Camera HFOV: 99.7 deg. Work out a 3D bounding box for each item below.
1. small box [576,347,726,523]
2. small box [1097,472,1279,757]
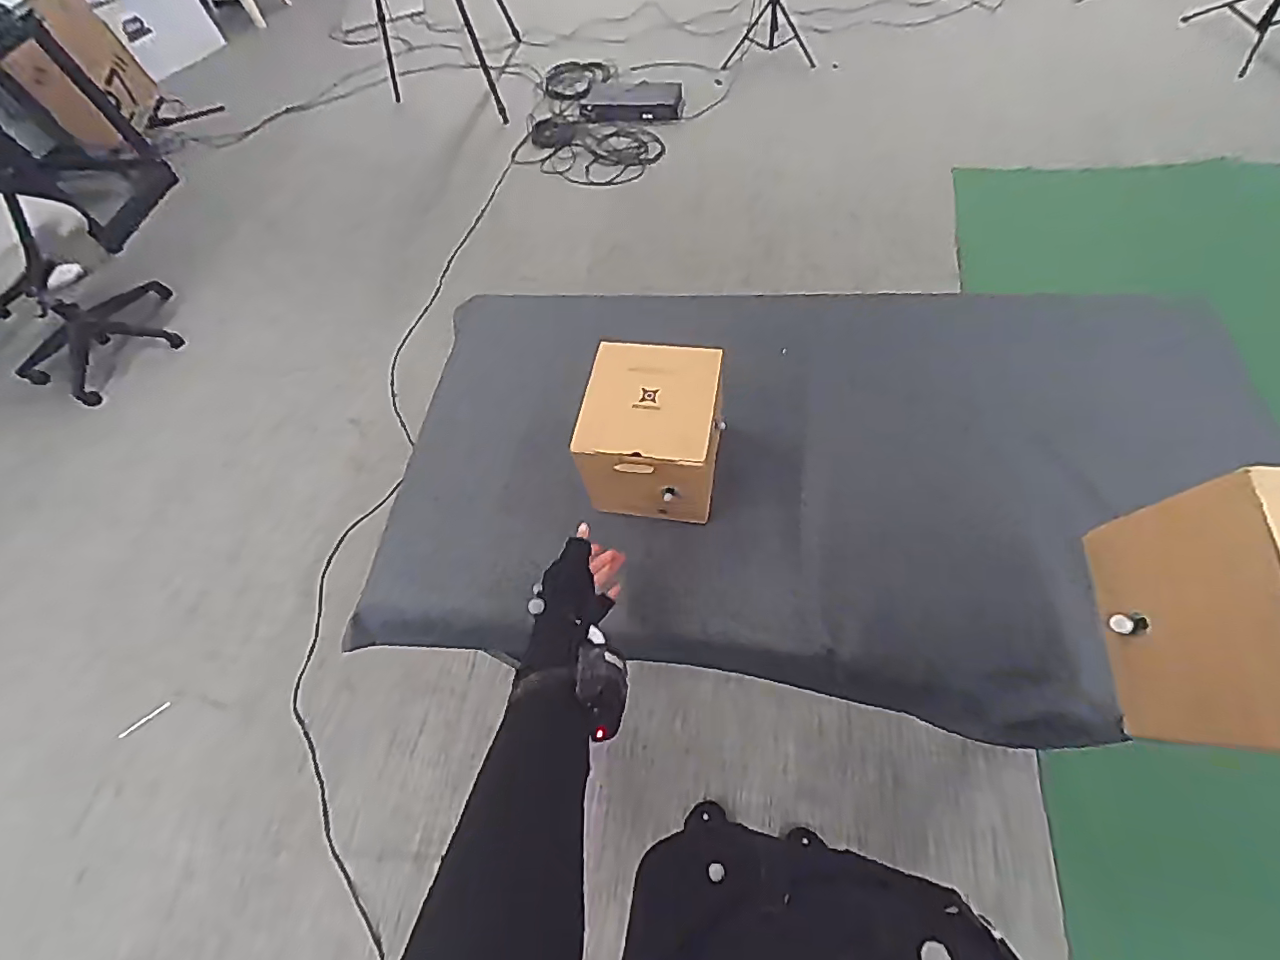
[{"bbox_3d":[0.027,-0.056,0.740,0.168,0.176,0.179,6,61,11],"label":"small box"},{"bbox_3d":[0.482,0.106,0.385,0.168,0.176,0.179,2,69,7],"label":"small box"}]
